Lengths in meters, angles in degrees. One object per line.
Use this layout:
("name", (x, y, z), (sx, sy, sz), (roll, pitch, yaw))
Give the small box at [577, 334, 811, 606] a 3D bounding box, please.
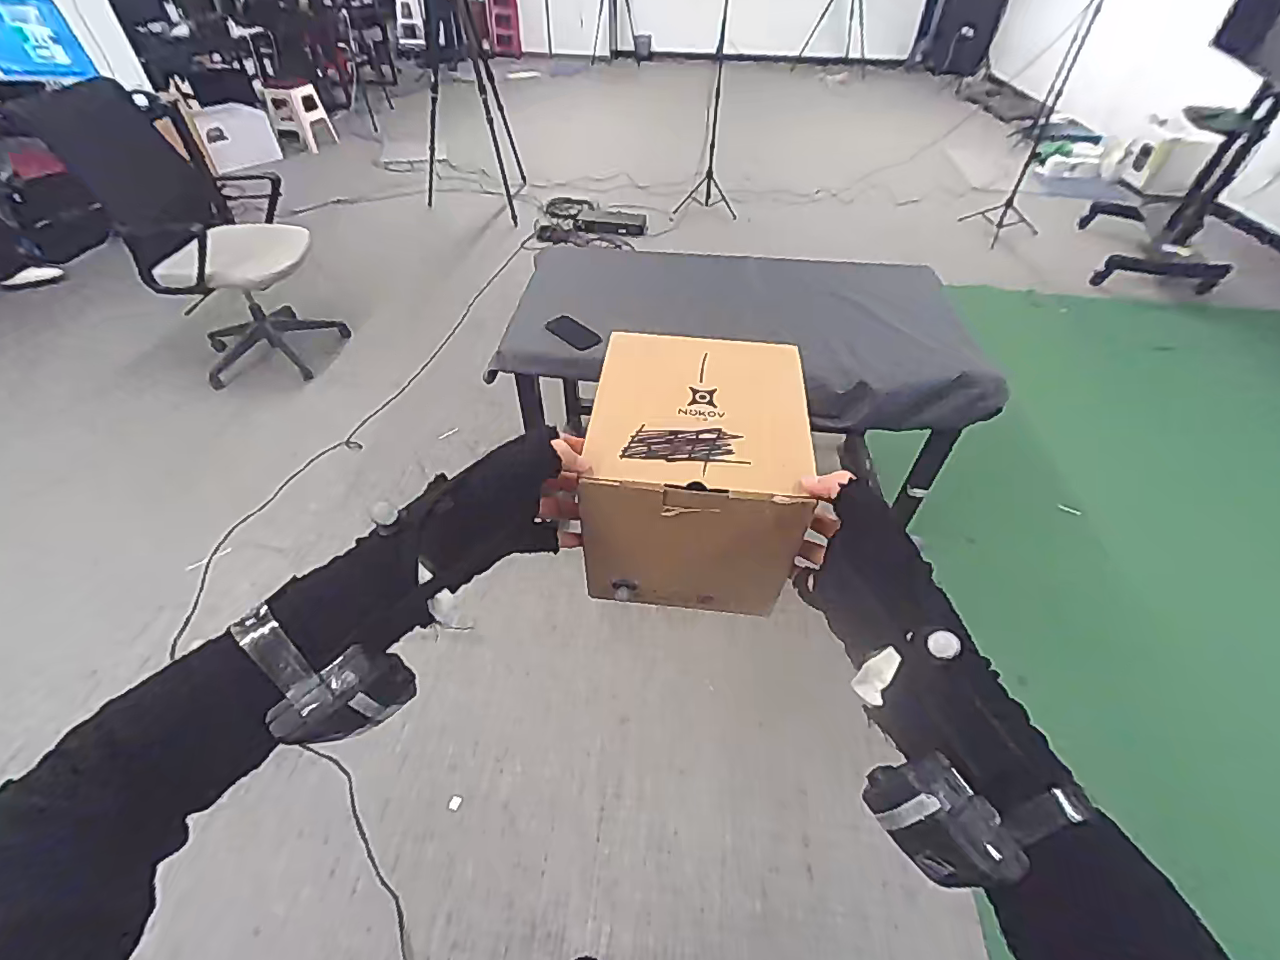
("small box", (0.045, -0.006, 0.485), (0.168, 0.176, 0.179), (6, 49, 3))
